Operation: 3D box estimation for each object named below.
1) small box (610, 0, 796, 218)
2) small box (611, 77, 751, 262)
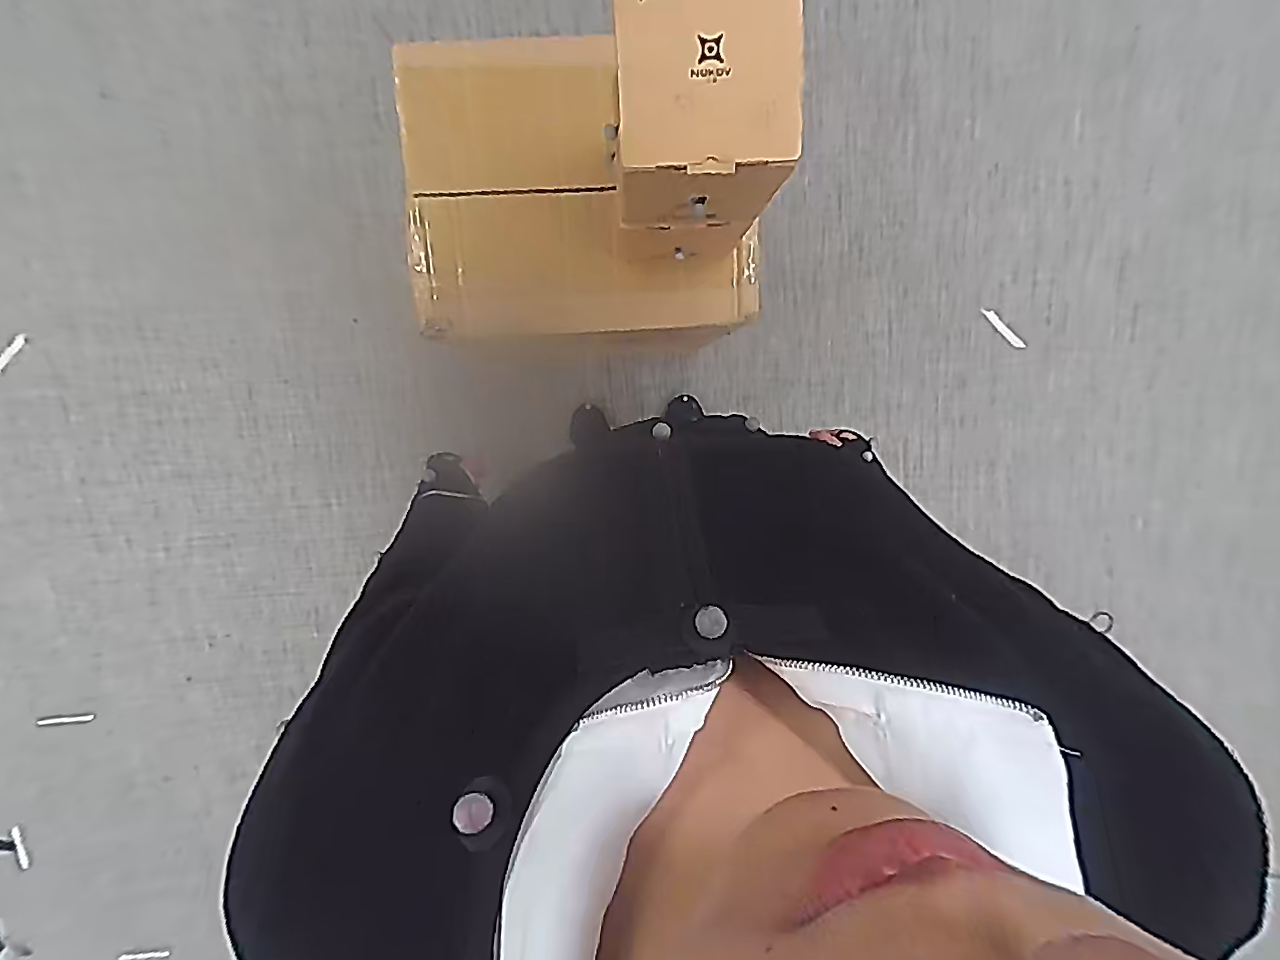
[{"bbox_3d":[0.056,-0.384,0.560,0.168,0.176,0.179,-3,100,-1],"label":"small box"},{"bbox_3d":[0.048,-0.406,0.722,0.168,0.176,0.179,-4,100,0],"label":"small box"}]
